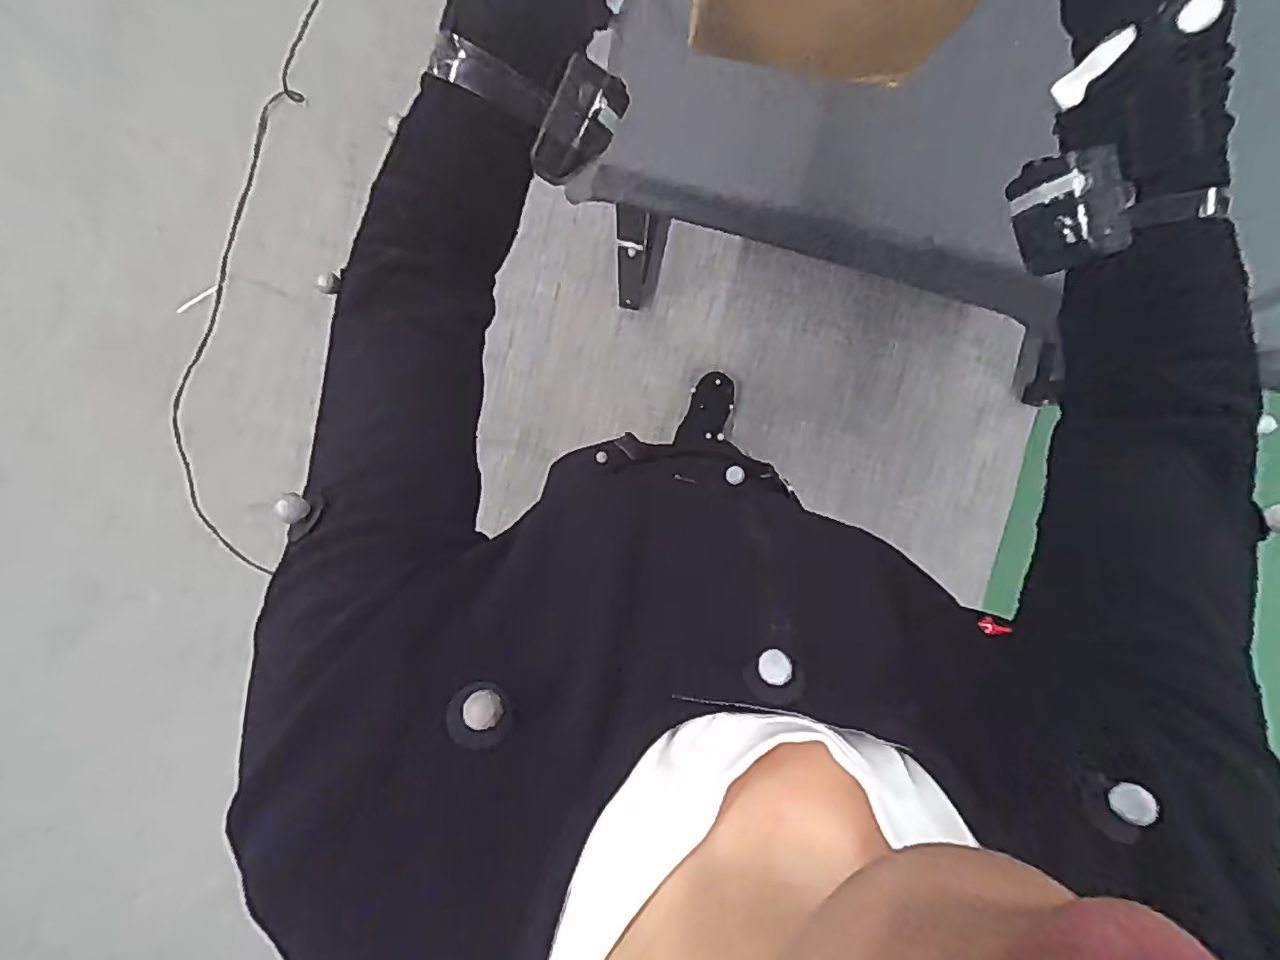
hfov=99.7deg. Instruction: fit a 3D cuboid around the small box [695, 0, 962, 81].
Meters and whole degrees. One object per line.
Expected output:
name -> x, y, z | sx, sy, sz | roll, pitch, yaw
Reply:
small box -> 0.140, -0.397, 0.342 | 0.179, 0.176, 0.168 | 6, 97, -7
